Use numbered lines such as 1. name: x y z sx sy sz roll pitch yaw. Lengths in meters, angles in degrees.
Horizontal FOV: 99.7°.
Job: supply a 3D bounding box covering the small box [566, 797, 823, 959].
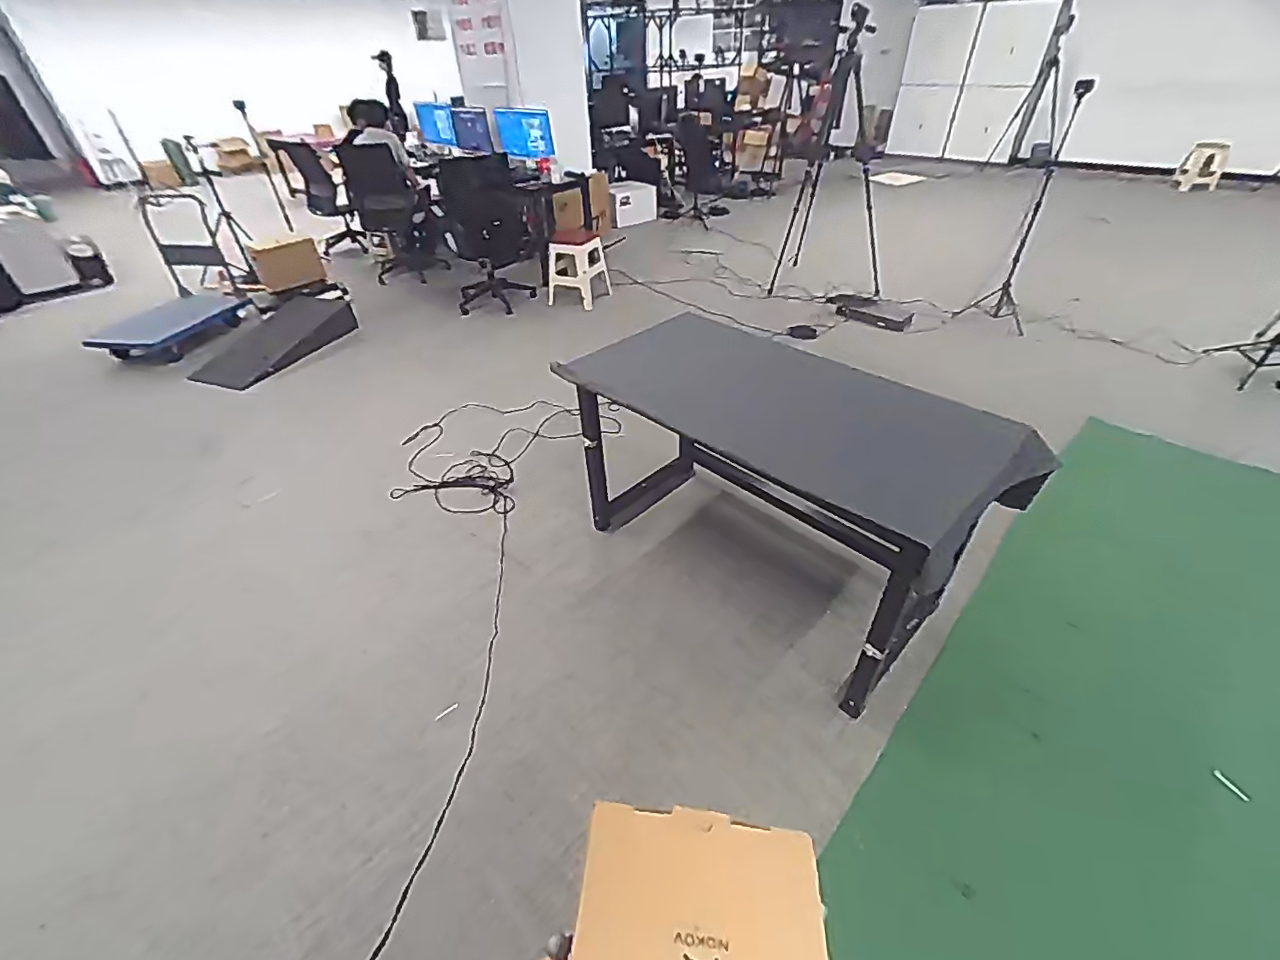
1. small box: 0.028 0.367 0.390 0.168 0.176 0.179 9 38 0
